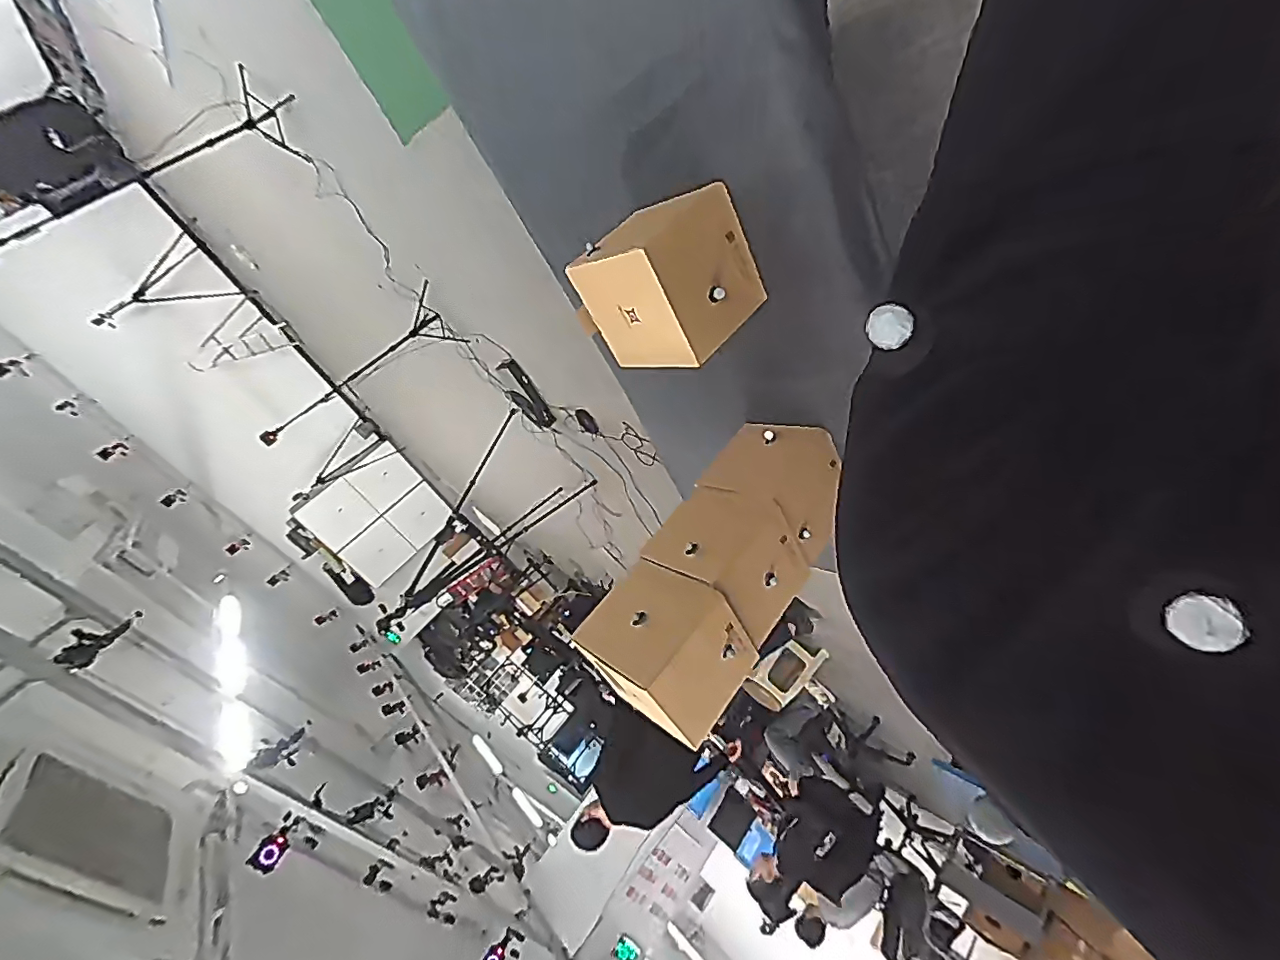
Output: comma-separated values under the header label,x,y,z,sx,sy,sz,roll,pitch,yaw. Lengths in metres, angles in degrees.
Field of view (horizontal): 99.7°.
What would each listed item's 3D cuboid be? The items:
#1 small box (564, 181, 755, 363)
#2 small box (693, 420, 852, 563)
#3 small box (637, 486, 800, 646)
label,x,y,z,sx,sy,sz,roll,pitch,yaw
small box,0.036,-0.279,0.744,0.179,0.176,0.168,14,145,50
small box,0.231,0.011,0.936,0.179,0.176,0.168,12,142,52
small box,0.134,0.128,0.871,0.179,0.176,0.168,12,142,51
